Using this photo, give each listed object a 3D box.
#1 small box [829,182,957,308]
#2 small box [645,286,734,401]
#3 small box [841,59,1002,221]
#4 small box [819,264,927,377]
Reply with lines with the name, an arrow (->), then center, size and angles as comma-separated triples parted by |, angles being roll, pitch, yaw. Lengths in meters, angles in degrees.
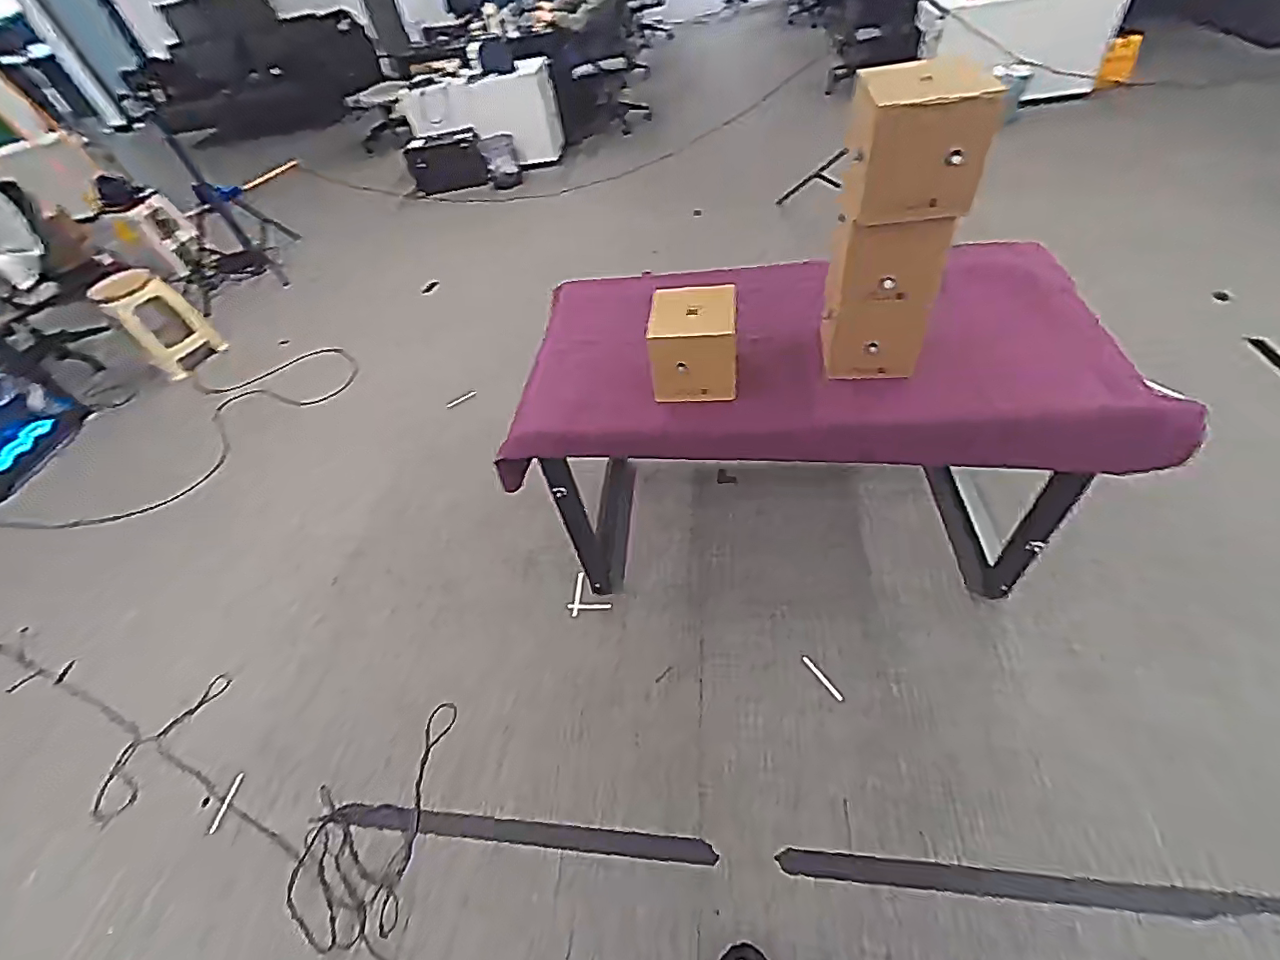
small box -> 0.442, -0.432, 0.977 | 0.168, 0.176, 0.179 | 1, 51, 11
small box -> 0.110, -0.278, 1.127 | 0.168, 0.176, 0.179 | 0, 49, 10
small box -> 0.419, -0.519, 0.841 | 0.168, 0.176, 0.179 | -1, 49, 8
small box -> 0.462, -0.323, 1.099 | 0.168, 0.176, 0.179 | 1, 50, 11
